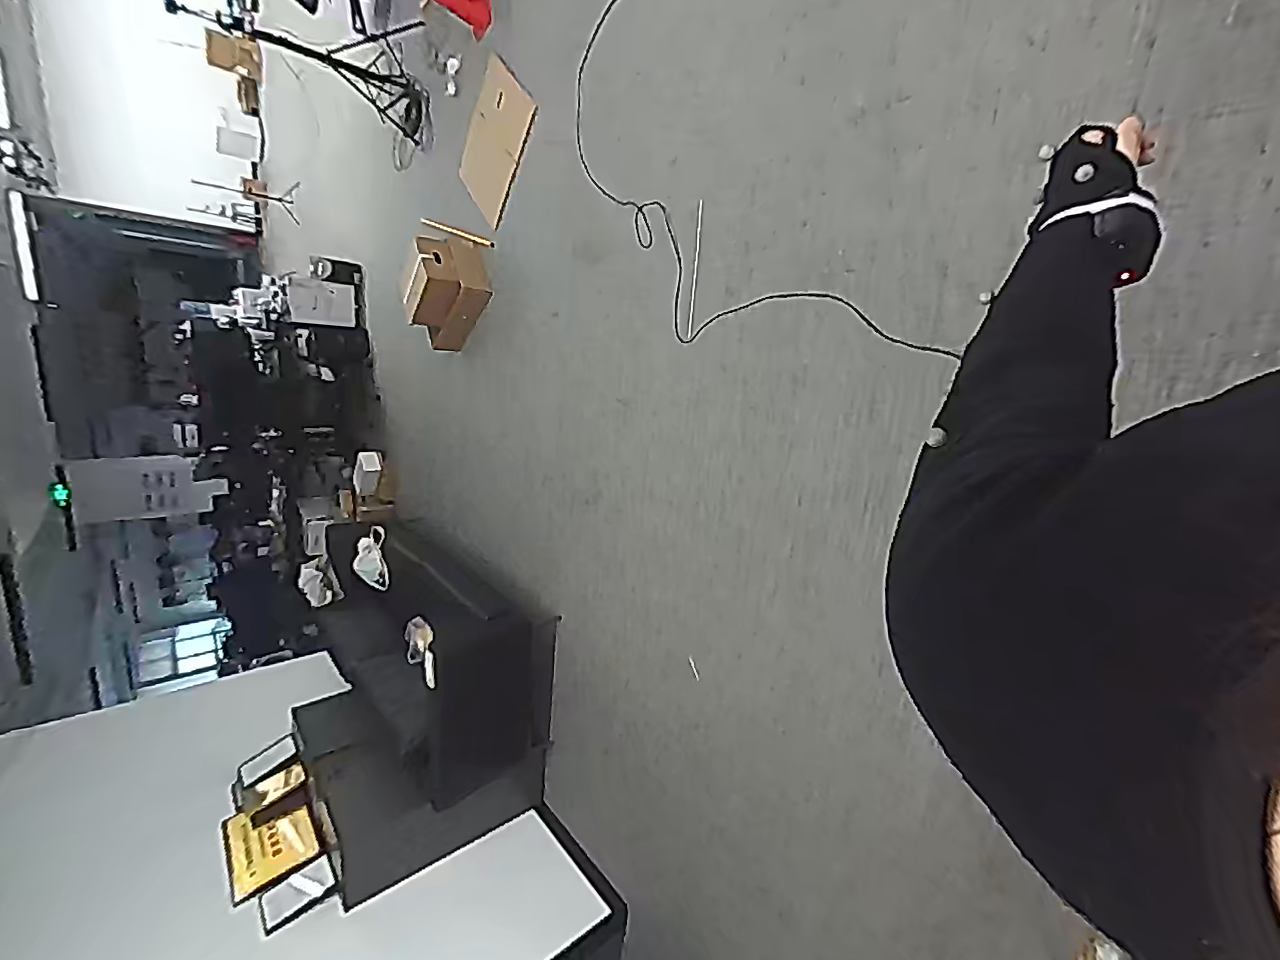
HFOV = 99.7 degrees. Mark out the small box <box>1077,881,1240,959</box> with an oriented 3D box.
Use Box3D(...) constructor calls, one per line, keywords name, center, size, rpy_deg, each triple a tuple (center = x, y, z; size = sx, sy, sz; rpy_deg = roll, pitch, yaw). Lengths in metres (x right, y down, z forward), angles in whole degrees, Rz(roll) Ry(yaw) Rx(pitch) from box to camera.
Box3D(name="small box", center=(0.835, 0.820, 0.880), size=(0.168, 0.176, 0.179), rpy_deg=(27, 117, 45))
